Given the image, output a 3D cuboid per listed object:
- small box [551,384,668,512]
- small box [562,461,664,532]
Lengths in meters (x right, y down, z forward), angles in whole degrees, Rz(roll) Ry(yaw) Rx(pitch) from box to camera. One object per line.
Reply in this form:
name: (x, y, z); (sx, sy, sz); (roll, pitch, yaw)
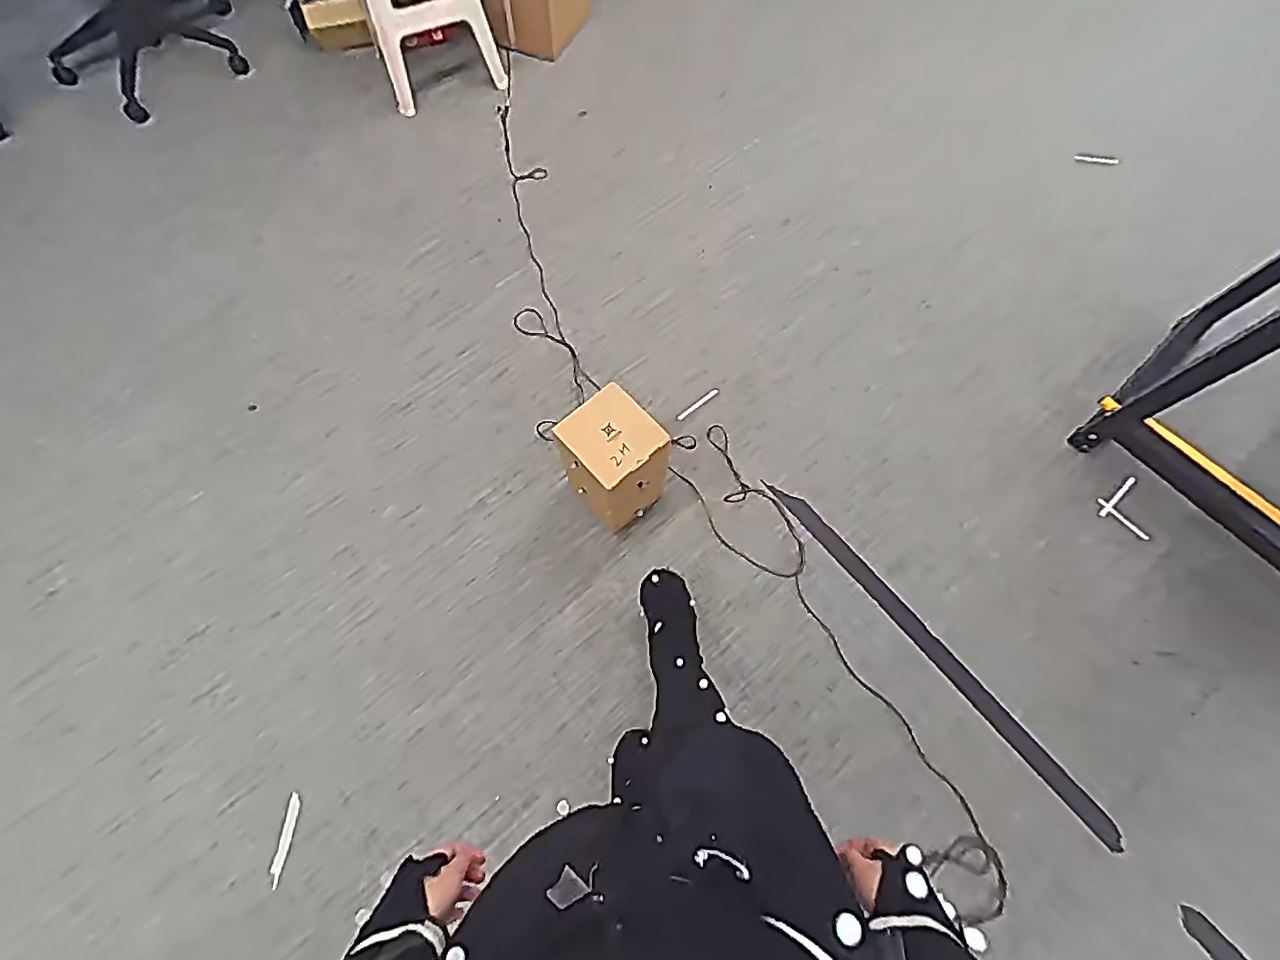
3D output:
small box: (-0.062, -0.060, 1.133); (0.168, 0.176, 0.179); (-40, 75, -13)
small box: (-0.064, -0.002, 1.288); (0.168, 0.176, 0.179); (-38, 75, -13)
